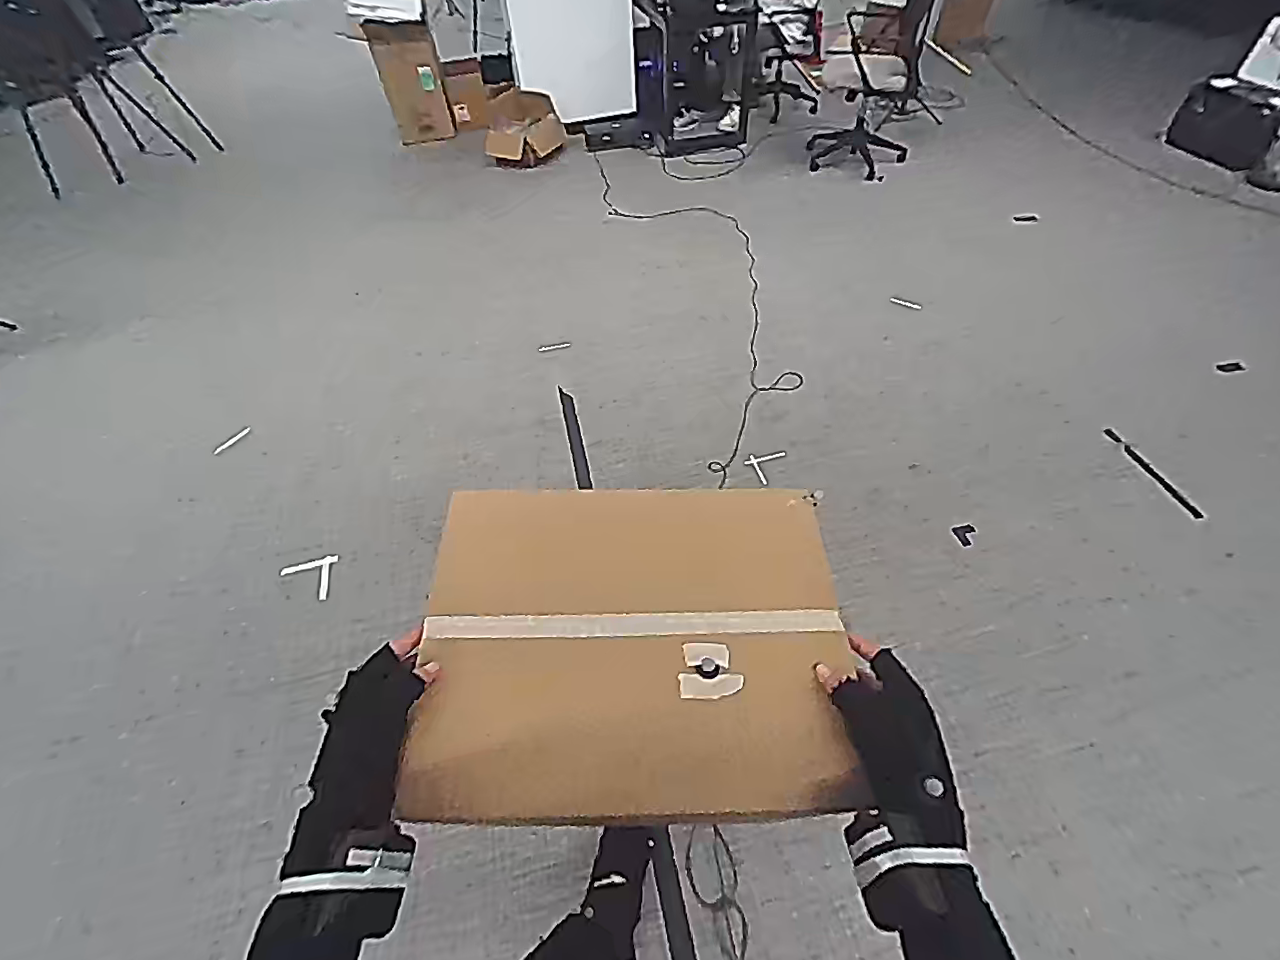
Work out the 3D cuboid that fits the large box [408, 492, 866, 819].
[{"bbox_3d":[-0.008,0.225,0.666,0.408,0.320,0.320,0,57,-1],"label":"large box"}]
